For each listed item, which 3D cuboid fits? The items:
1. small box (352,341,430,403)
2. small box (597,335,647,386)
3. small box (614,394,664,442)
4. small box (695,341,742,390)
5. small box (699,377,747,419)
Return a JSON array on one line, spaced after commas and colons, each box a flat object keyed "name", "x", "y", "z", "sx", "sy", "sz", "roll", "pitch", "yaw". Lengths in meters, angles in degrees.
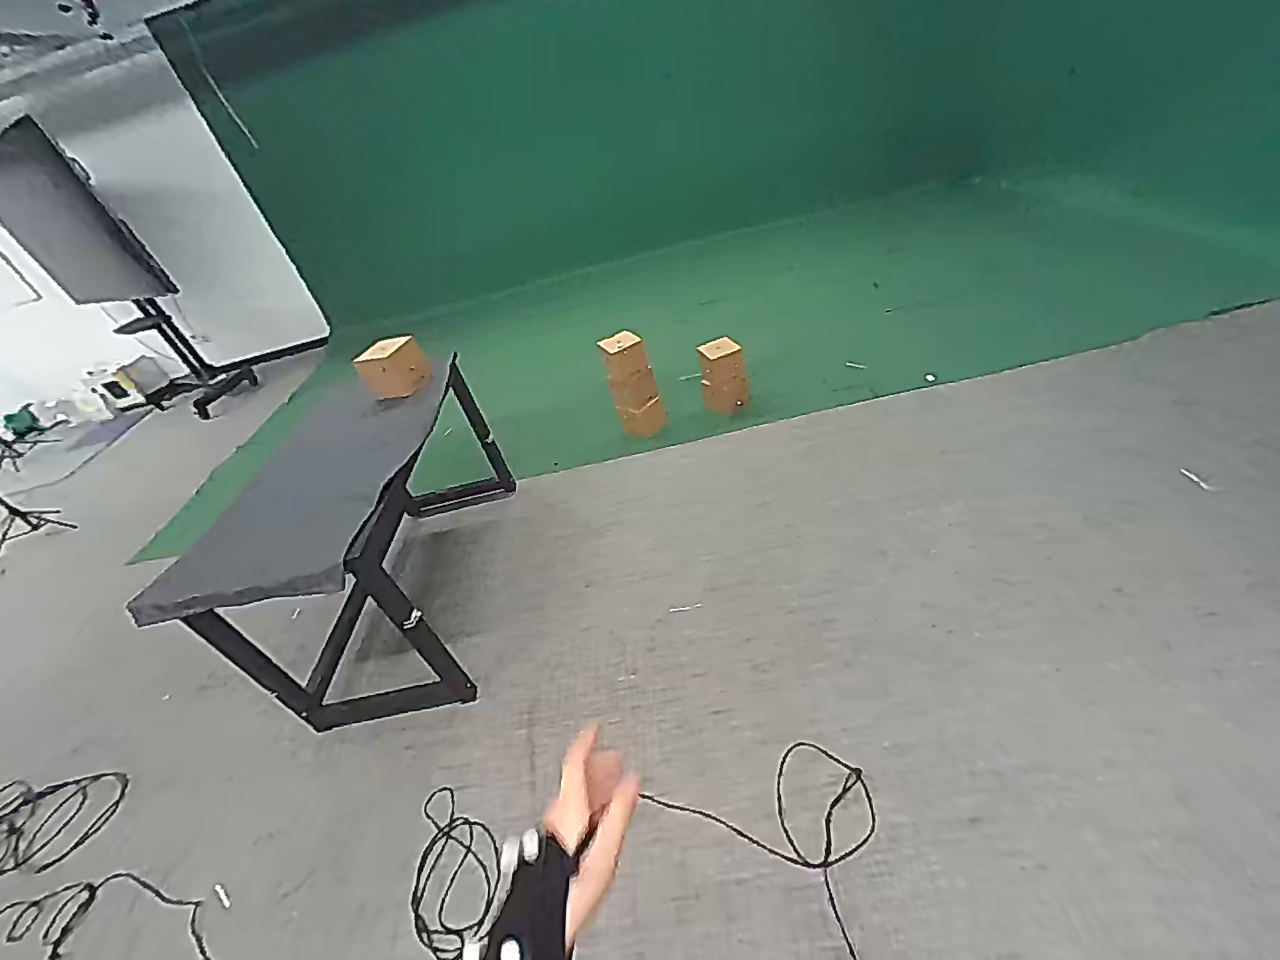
[{"name": "small box", "x": -0.945, "y": -0.411, "z": 2.072, "sx": 0.179, "sy": 0.176, "sz": 0.168, "roll": -2, "pitch": 39, "yaw": 23}, {"name": "small box", "x": -0.087, "y": -0.580, "z": 2.627, "sx": 0.168, "sy": 0.176, "sz": 0.179, "roll": -28, "pitch": 38, "yaw": -14}, {"name": "small box", "x": 0.000, "y": -0.320, "z": 2.809, "sx": 0.179, "sy": 0.176, "sz": 0.168, "roll": 21, "pitch": 51, "yaw": 40}, {"name": "small box", "x": 0.395, "y": -0.564, "z": 2.690, "sx": 0.168, "sy": 0.176, "sz": 0.179, "roll": -22, "pitch": 36, "yaw": -9}, {"name": "small box", "x": 0.430, "y": -0.434, "z": 2.781, "sx": 0.168, "sy": 0.176, "sz": 0.179, "roll": -37, "pitch": 42, "yaw": -24}]
